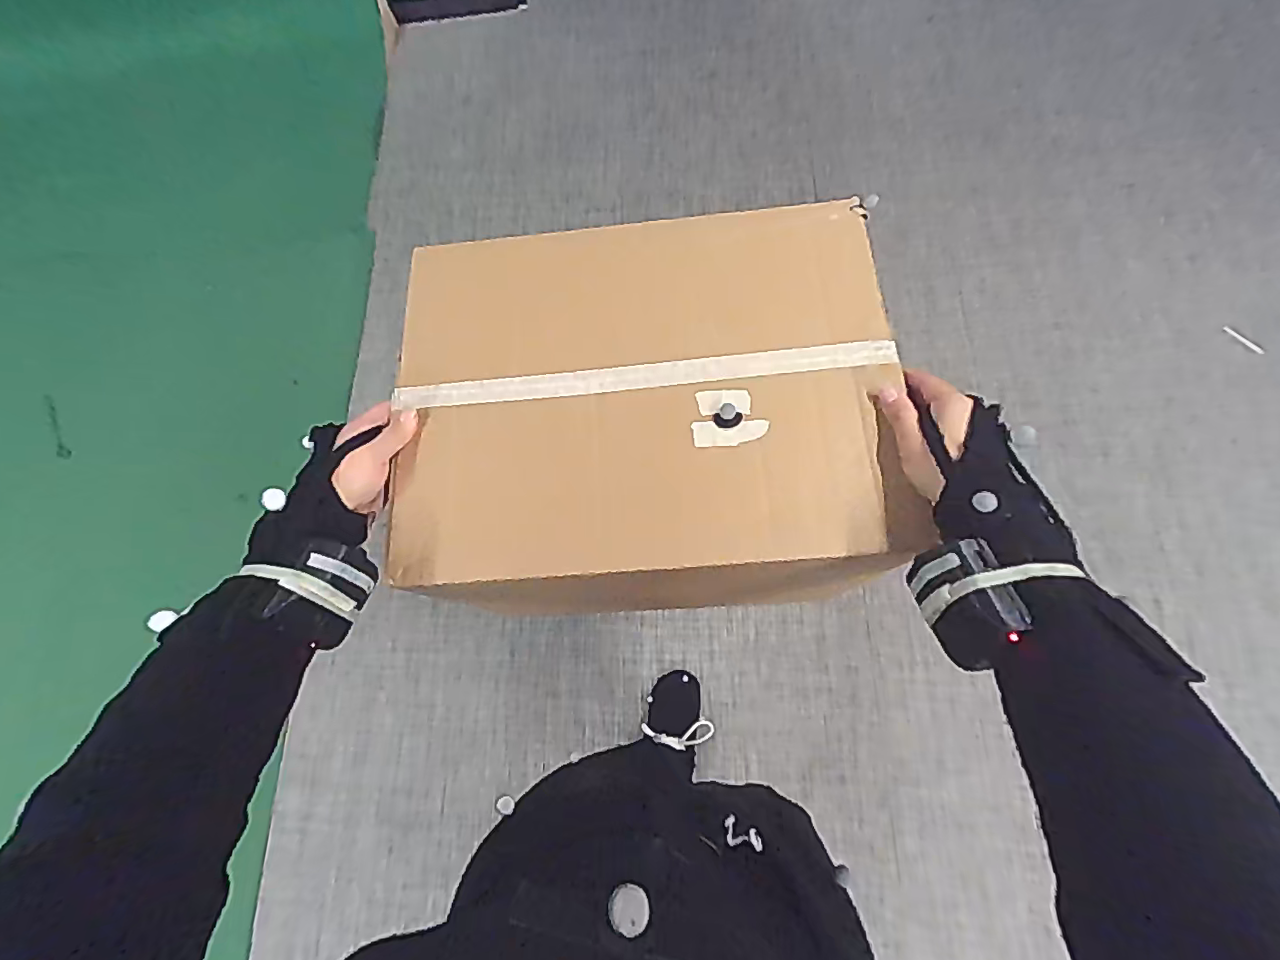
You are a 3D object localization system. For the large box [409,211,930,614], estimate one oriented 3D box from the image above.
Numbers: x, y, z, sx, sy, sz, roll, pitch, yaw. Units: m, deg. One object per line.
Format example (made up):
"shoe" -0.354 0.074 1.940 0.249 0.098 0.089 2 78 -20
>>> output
"large box" 0.017 -0.037 0.593 0.408 0.320 0.320 -5 72 3
